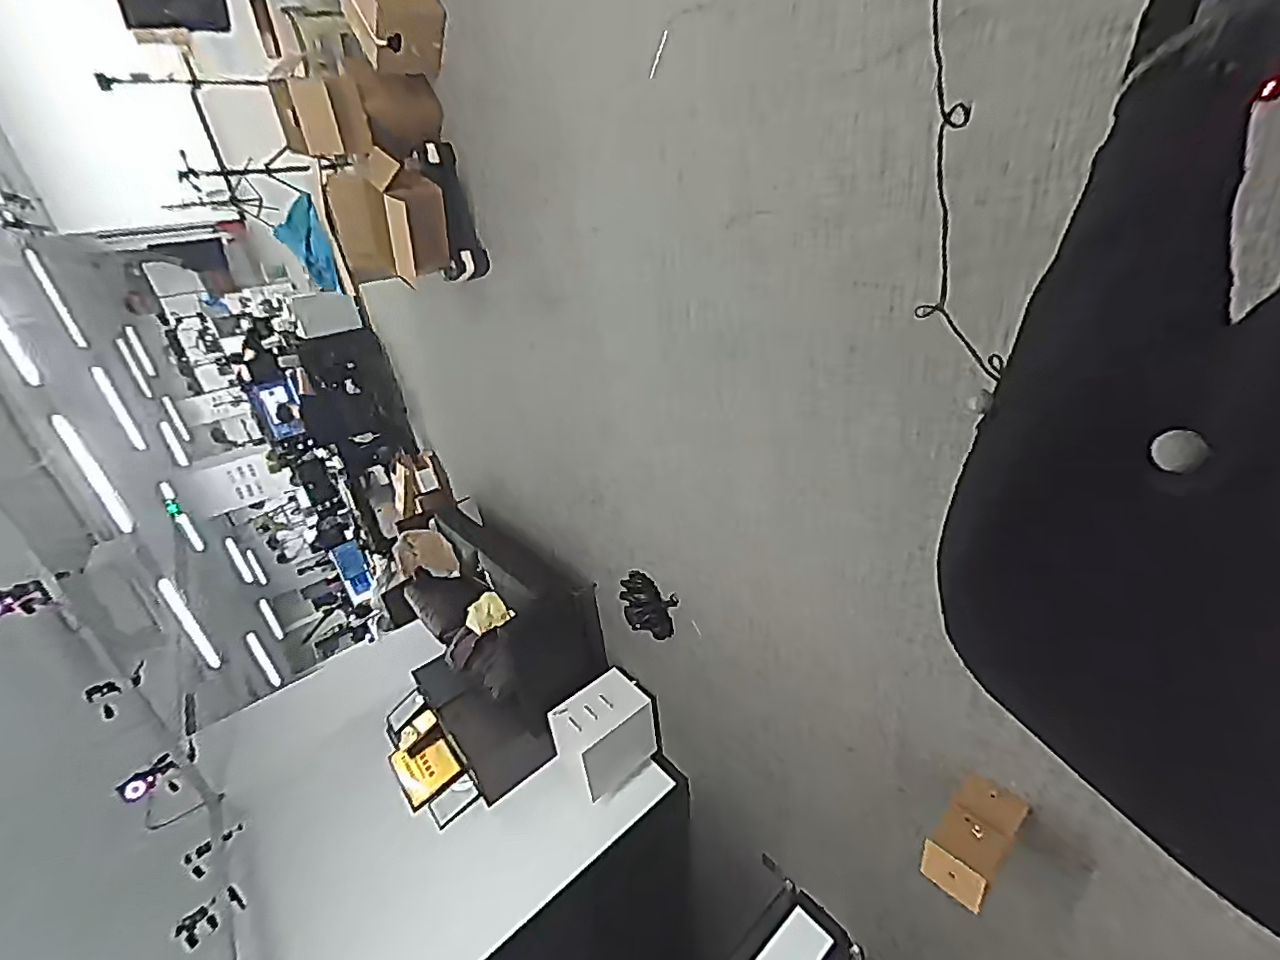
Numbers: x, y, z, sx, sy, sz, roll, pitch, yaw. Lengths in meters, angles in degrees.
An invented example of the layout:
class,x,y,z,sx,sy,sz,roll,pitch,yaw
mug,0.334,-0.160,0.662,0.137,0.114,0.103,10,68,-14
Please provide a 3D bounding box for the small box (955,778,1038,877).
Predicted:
class,x,y,z,sx,sy,sz,roll,pitch,yaw
small box,1.122,1.089,1.718,0.179,0.176,0.168,22,130,47

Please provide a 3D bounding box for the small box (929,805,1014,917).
class,x,y,z,sx,sy,sz,roll,pitch,yaw
small box,0.995,1.135,1.623,0.168,0.176,0.179,20,126,46
